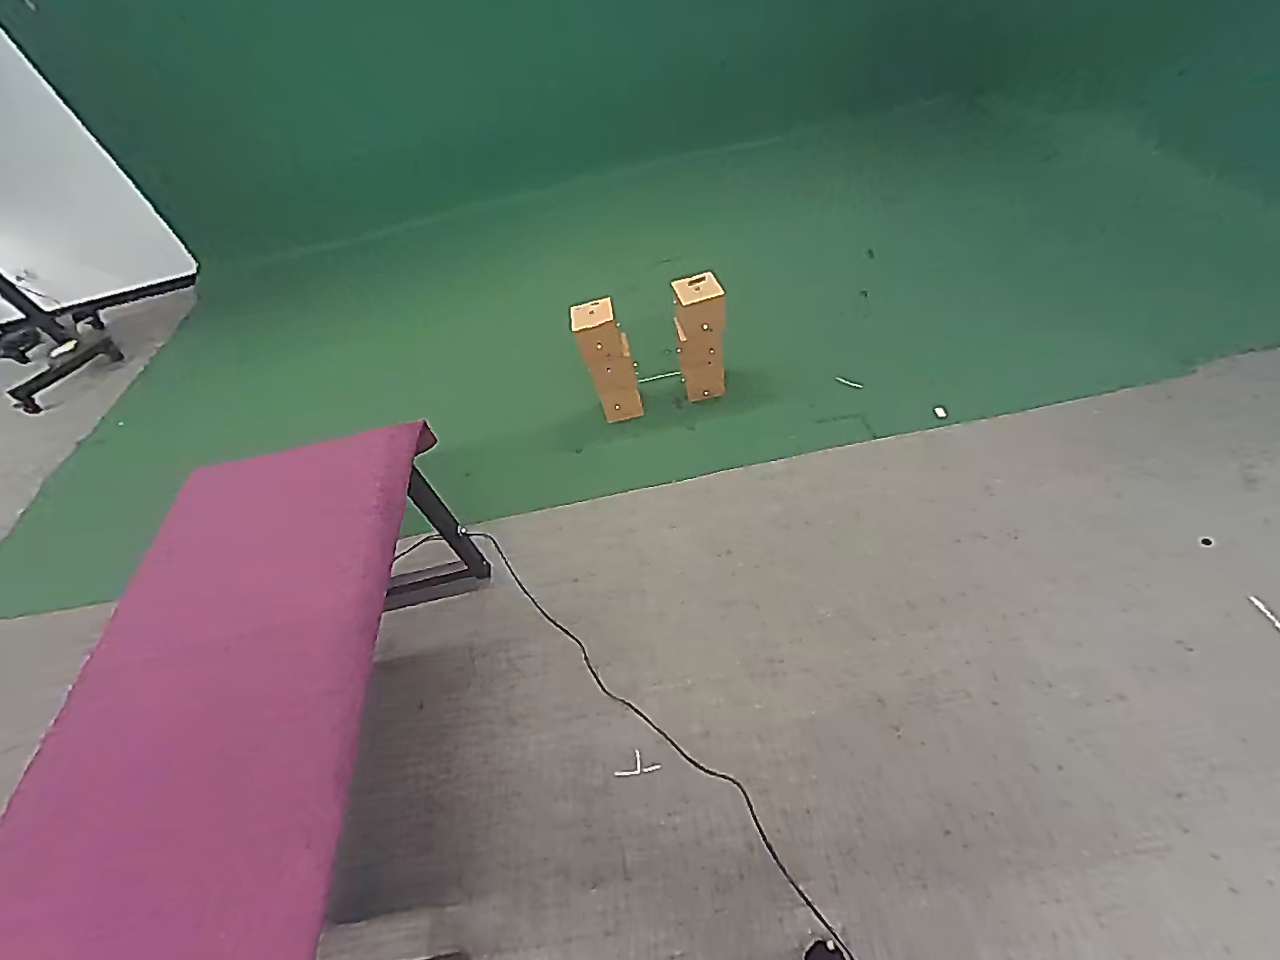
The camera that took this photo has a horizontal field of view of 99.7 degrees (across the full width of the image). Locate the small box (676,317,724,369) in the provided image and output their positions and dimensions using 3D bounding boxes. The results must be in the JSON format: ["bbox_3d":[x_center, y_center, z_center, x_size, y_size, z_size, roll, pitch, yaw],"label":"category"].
[{"bbox_3d":[0.253,-0.582,2.263,0.168,0.176,0.179,-12,49,2],"label":"small box"}]

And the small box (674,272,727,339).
[{"bbox_3d":[0.239,-0.687,2.139,0.168,0.176,0.179,-16,51,-1],"label":"small box"}]

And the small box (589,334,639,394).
[{"bbox_3d":[-0.111,-0.482,2.270,0.179,0.176,0.168,-13,48,3],"label":"small box"}]

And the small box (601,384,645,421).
[{"bbox_3d":[-0.078,-0.382,2.396,0.168,0.176,0.179,-13,48,3],"label":"small box"}]

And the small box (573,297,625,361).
[{"bbox_3d":[-0.164,-0.593,2.159,0.168,0.176,0.179,-13,49,4],"label":"small box"}]
